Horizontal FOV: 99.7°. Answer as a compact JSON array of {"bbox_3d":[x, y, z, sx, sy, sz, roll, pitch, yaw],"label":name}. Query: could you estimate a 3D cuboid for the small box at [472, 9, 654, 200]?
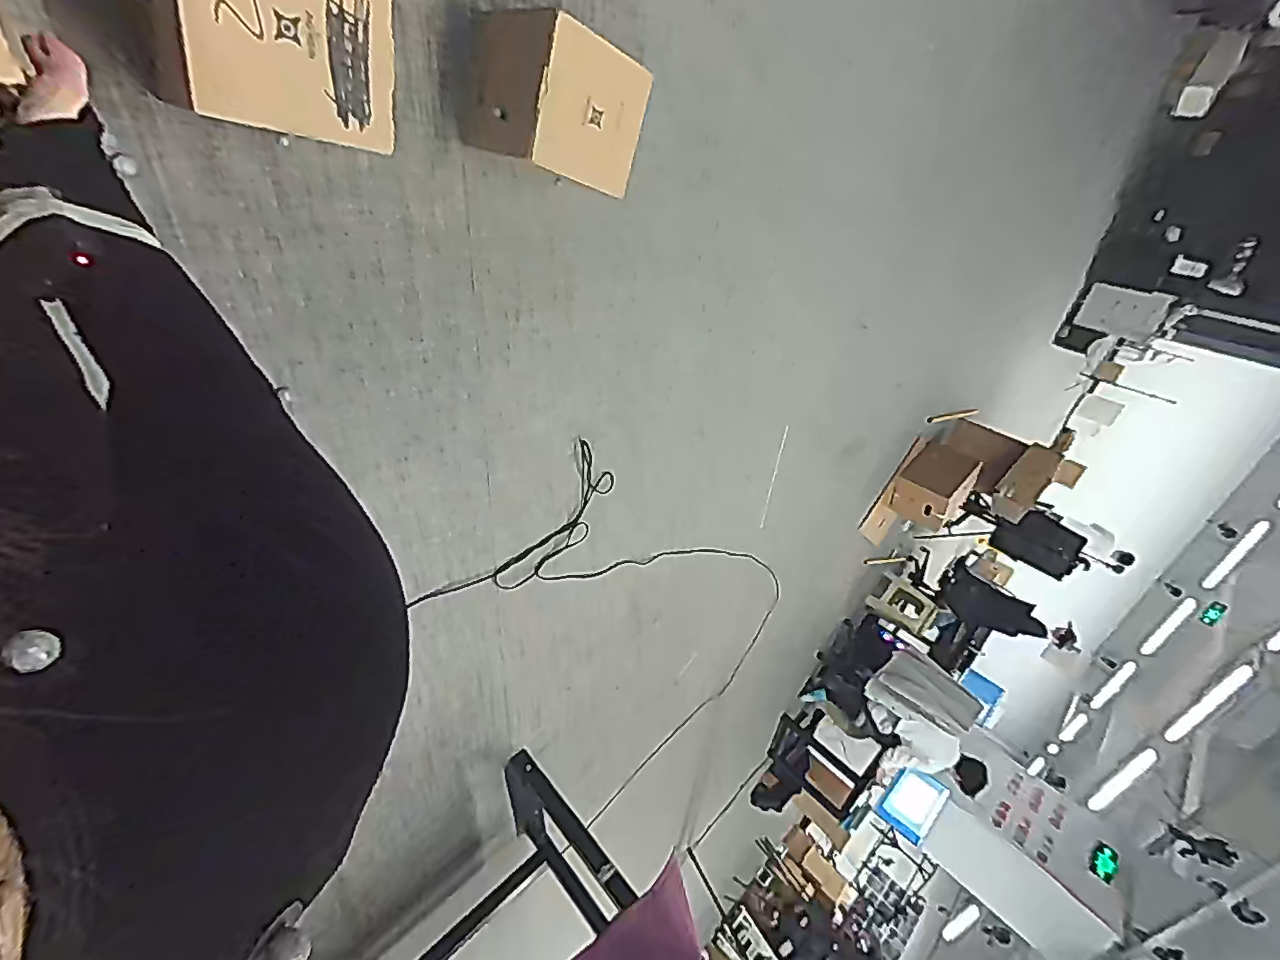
[{"bbox_3d":[-0.115,-0.522,0.769,0.179,0.176,0.168,-8,124,-47],"label":"small box"}]
